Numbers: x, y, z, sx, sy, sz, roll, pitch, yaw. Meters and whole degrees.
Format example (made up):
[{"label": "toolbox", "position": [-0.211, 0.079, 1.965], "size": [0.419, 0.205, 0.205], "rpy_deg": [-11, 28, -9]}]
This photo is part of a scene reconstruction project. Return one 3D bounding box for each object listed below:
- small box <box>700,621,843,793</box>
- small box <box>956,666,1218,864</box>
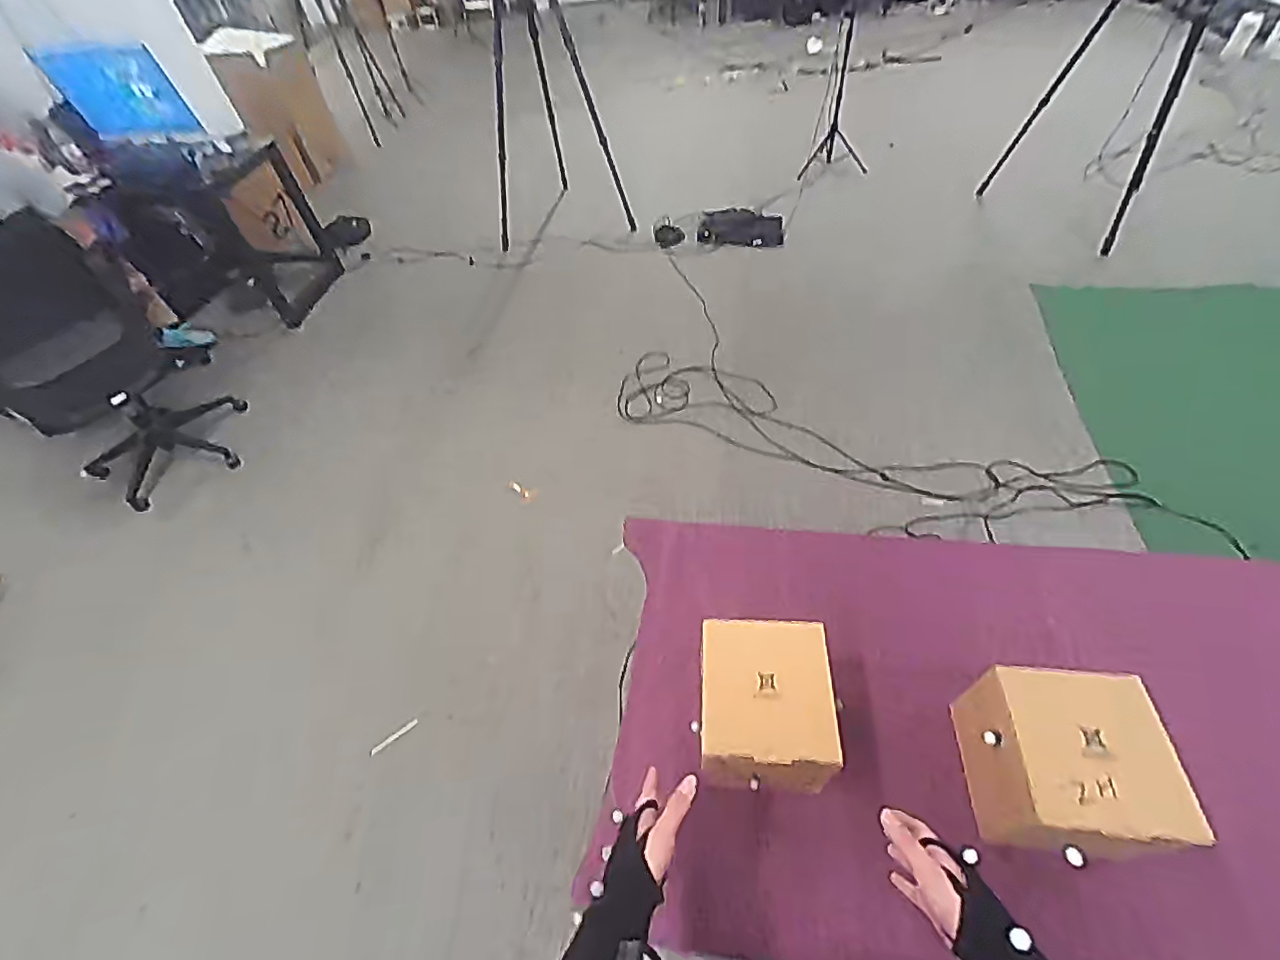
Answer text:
[{"label": "small box", "position": [0.168, 0.315, 0.749], "size": [0.168, 0.176, 0.179], "rpy_deg": [0, 51, 7]}, {"label": "small box", "position": [0.521, 0.353, 0.670], "size": [0.168, 0.176, 0.179], "rpy_deg": [2, 51, 9]}]
